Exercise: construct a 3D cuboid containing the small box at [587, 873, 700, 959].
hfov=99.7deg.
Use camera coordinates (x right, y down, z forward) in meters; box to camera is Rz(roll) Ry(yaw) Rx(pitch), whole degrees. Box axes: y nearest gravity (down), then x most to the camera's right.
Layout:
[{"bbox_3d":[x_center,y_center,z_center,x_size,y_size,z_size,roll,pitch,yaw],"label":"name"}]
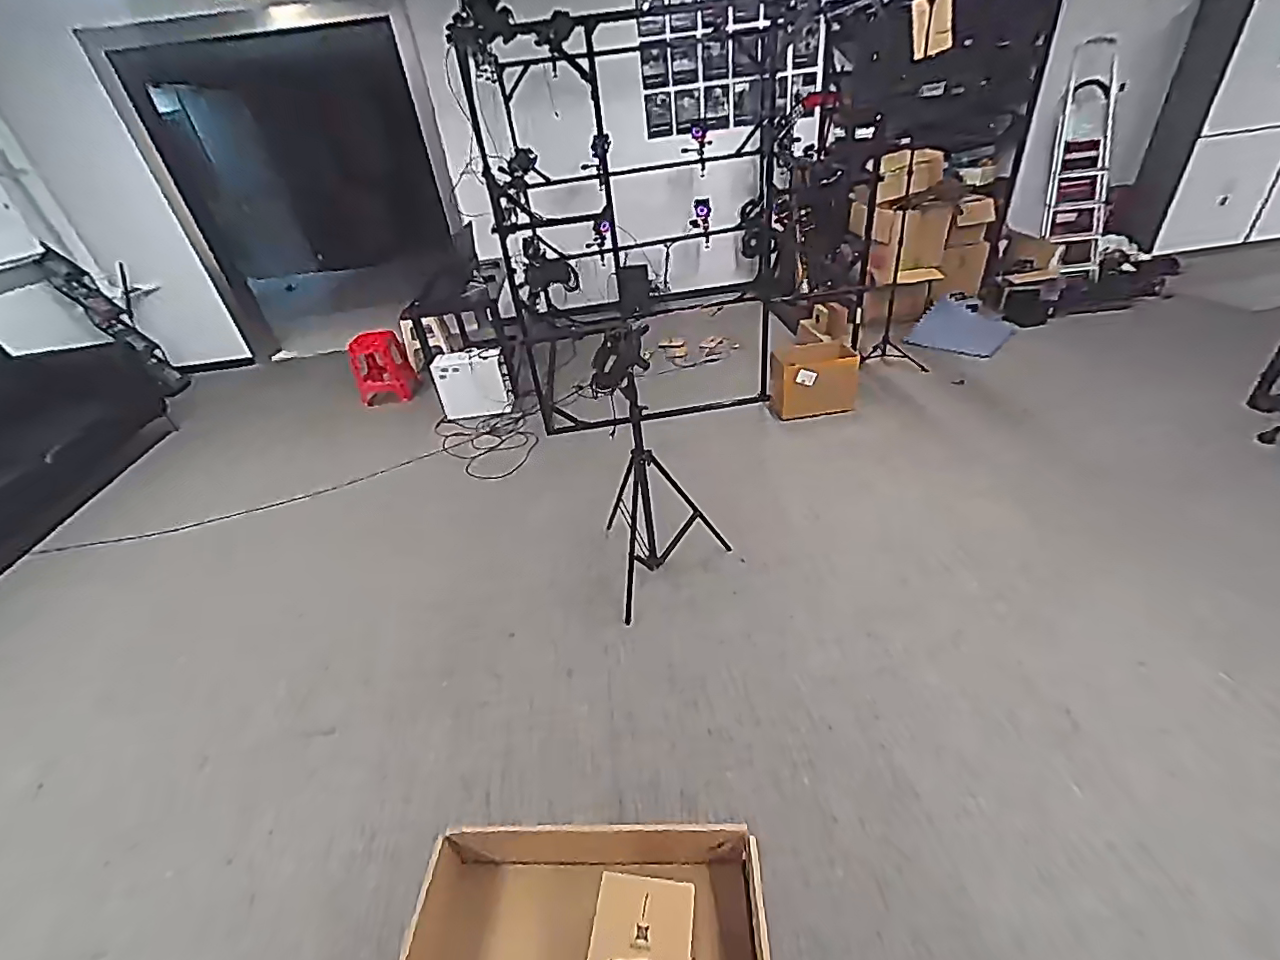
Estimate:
[{"bbox_3d":[0.011,0.809,0.913,0.168,0.176,0.179,-1,34,12],"label":"small box"}]
